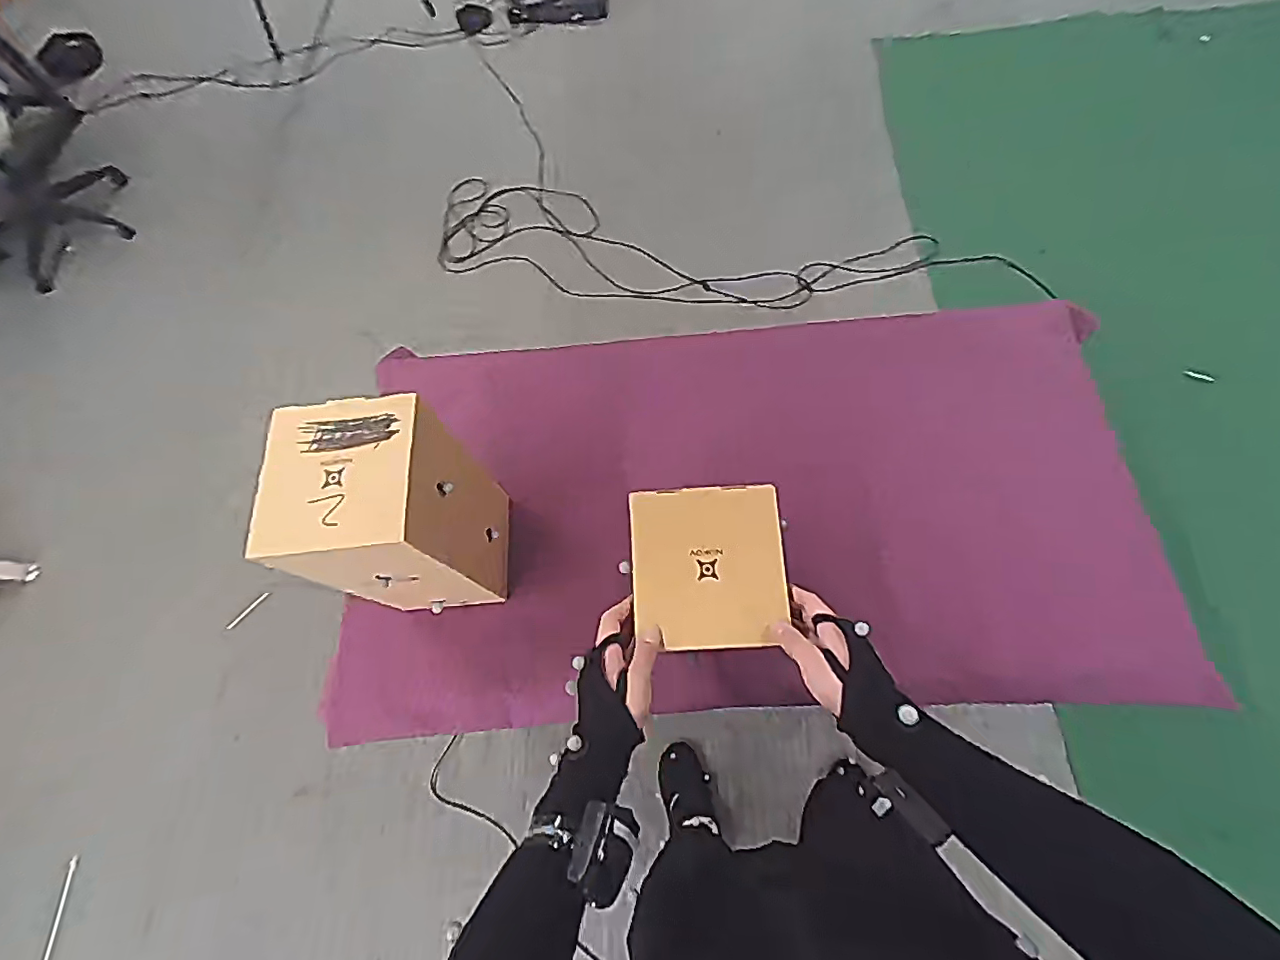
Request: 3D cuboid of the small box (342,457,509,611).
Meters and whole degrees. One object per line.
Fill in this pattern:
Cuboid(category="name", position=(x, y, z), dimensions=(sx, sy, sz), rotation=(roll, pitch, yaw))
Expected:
Cuboid(category="small box", position=(-0.296, 0.085, 0.787), dimensions=(0.168, 0.176, 0.179), rotation=(-6, 68, 2))
